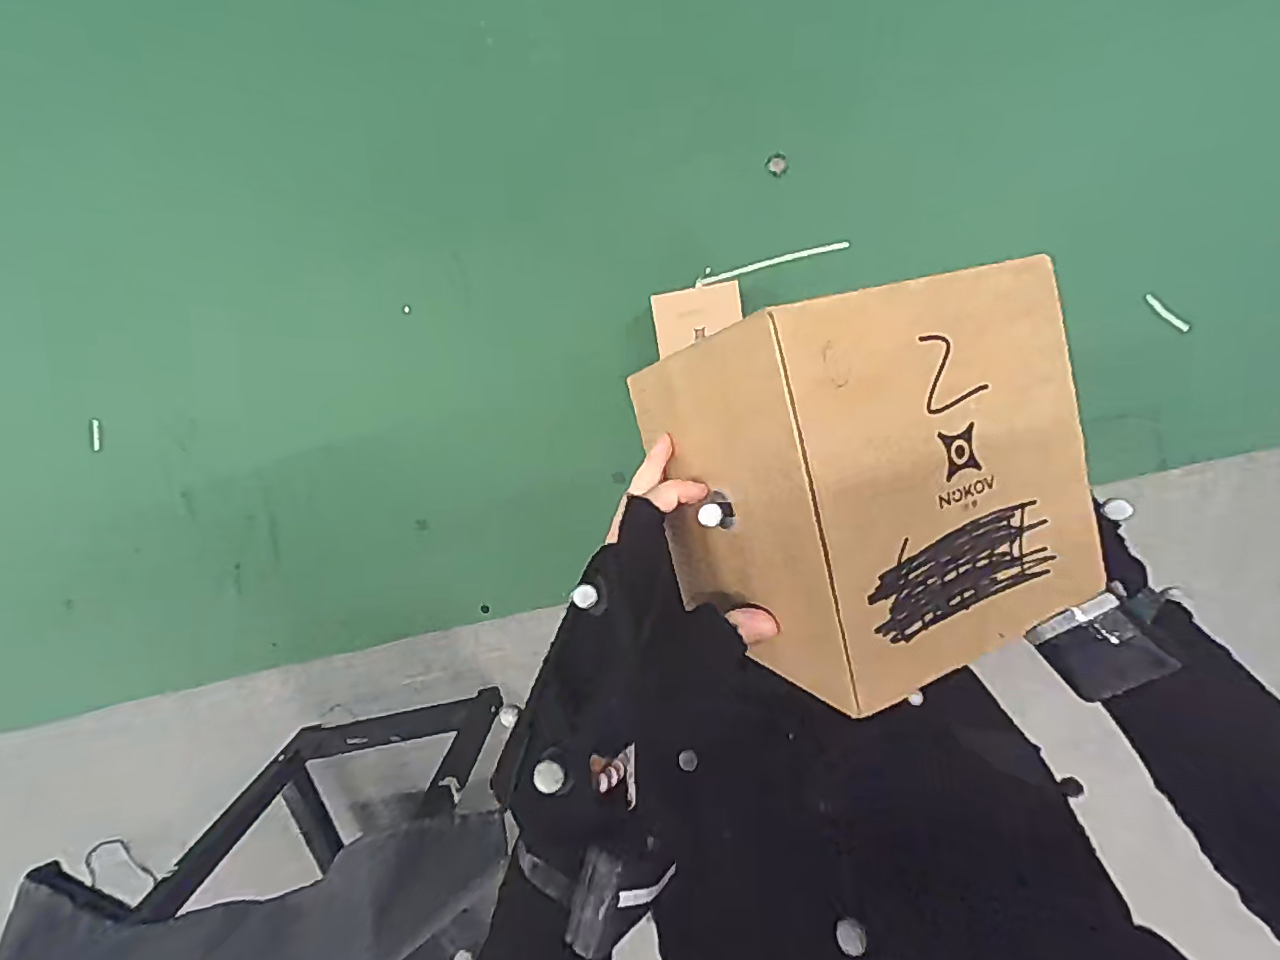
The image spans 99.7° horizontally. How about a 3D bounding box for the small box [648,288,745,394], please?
[{"bbox_3d":[0.114,-0.282,1.098,0.168,0.176,0.179,-9,104,5],"label":"small box"}]
